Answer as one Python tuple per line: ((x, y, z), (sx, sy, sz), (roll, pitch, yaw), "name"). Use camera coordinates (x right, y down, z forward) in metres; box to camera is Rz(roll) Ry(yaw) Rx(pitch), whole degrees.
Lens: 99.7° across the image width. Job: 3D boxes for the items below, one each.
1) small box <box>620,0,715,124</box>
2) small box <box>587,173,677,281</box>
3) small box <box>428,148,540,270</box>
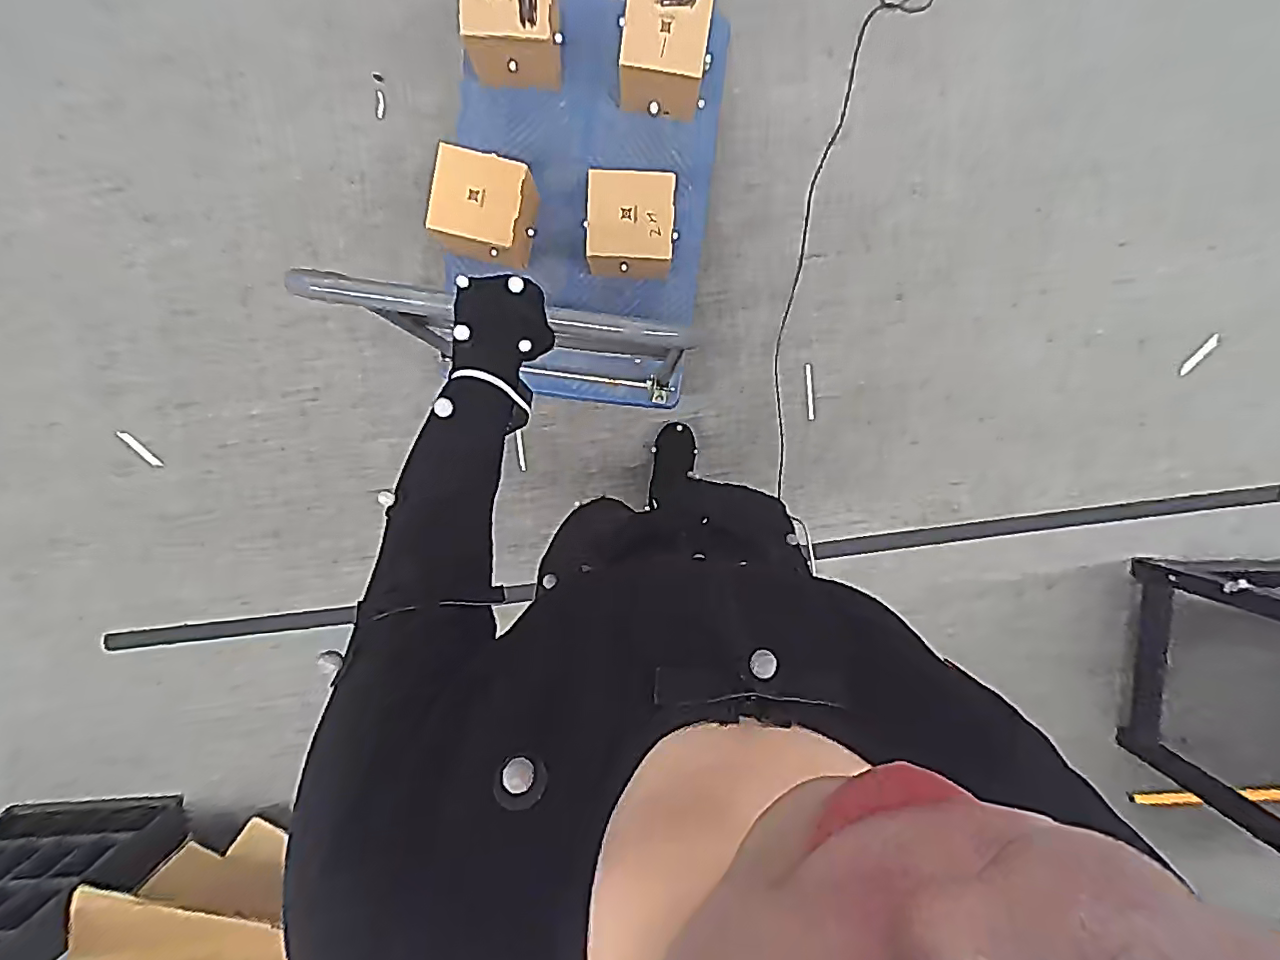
((0.052, -0.883, 1.118), (0.168, 0.176, 0.179), (8, 98, -2), "small box")
((-0.017, -0.533, 1.158), (0.179, 0.176, 0.168), (2, 97, -1), "small box")
((-0.323, -0.565, 1.151), (0.179, 0.176, 0.168), (12, 96, -4), "small box")
